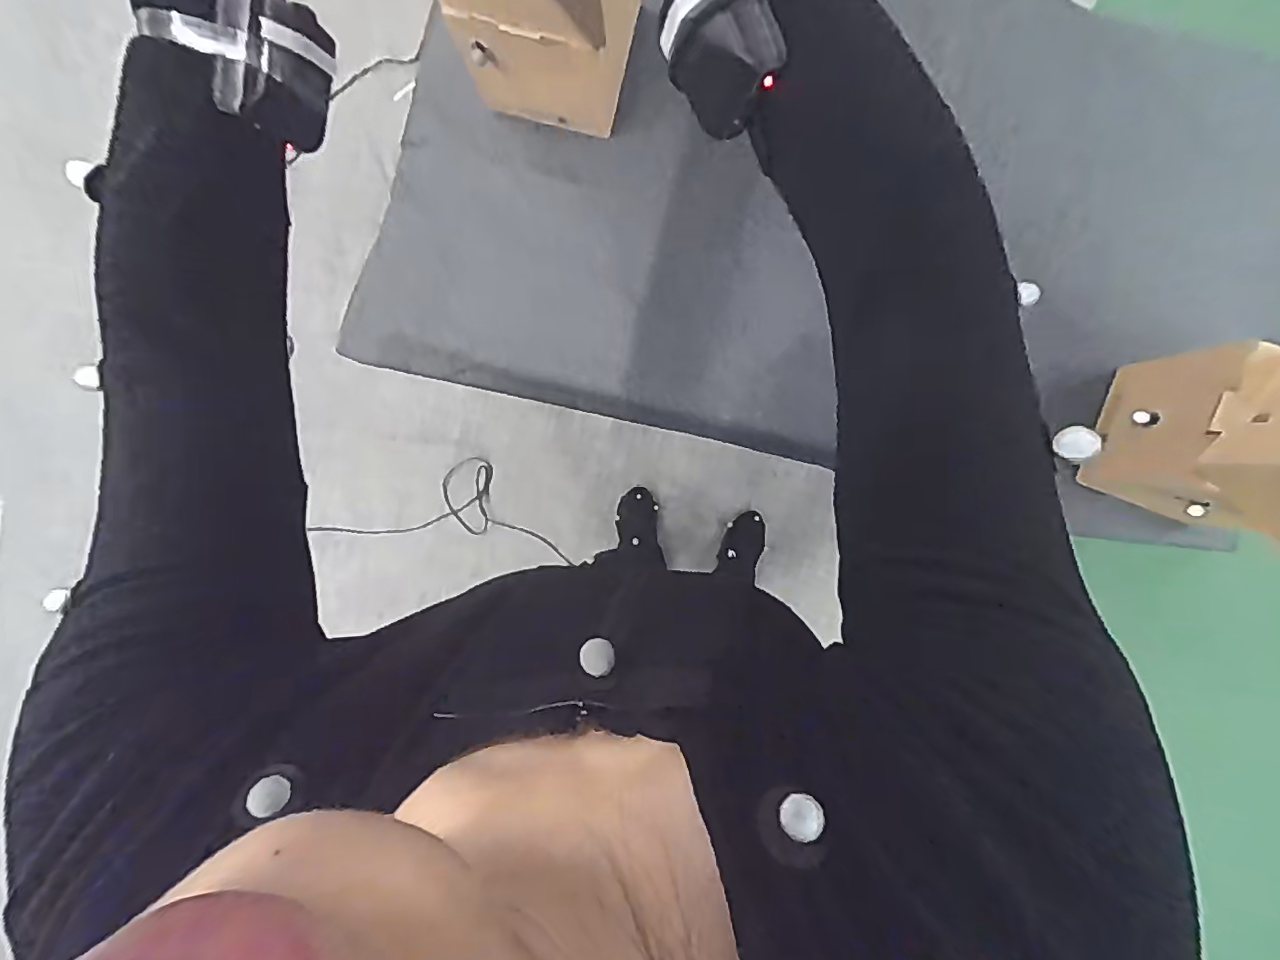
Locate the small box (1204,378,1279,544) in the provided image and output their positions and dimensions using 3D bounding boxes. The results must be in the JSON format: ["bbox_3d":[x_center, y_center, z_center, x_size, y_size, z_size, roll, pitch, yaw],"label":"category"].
[{"bbox_3d":[0.688,-0.019,0.480,0.179,0.176,0.168,41,91,-2],"label":"small box"}]

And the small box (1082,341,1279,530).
[{"bbox_3d":[0.690,-0.041,0.643,0.179,0.176,0.168,20,92,0],"label":"small box"}]

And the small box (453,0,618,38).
[{"bbox_3d":[-0.098,-0.524,0.452,0.179,0.176,0.168,15,96,-1],"label":"small box"}]
